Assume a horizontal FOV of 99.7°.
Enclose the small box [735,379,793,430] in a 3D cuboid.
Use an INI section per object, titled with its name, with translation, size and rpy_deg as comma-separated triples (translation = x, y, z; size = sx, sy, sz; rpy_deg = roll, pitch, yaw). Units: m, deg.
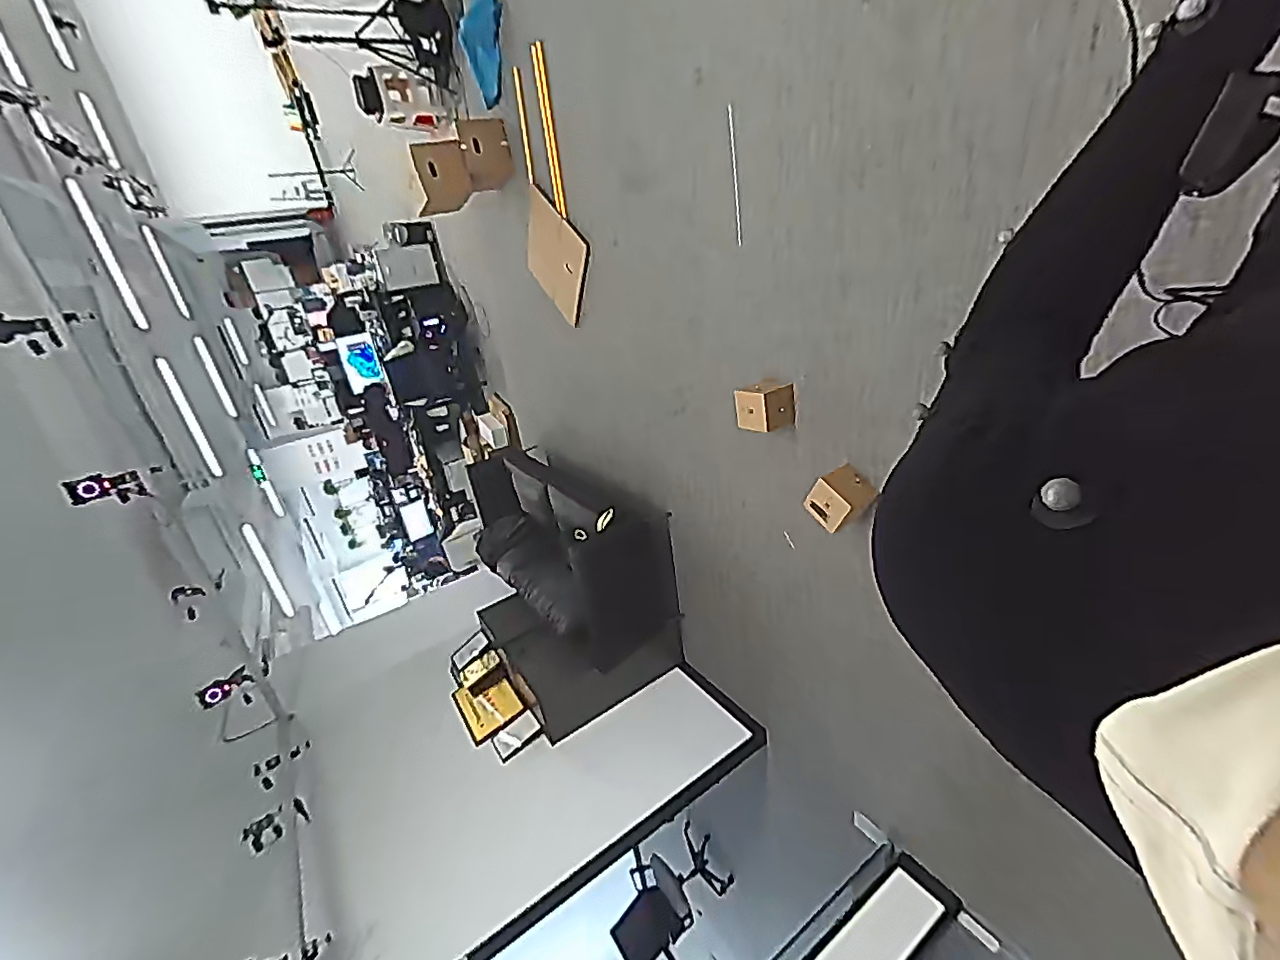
[small box]
translation = 0.523, -0.322, 2.261
size = 0.179, 0.176, 0.168
rpy_deg = 22, 128, 54
